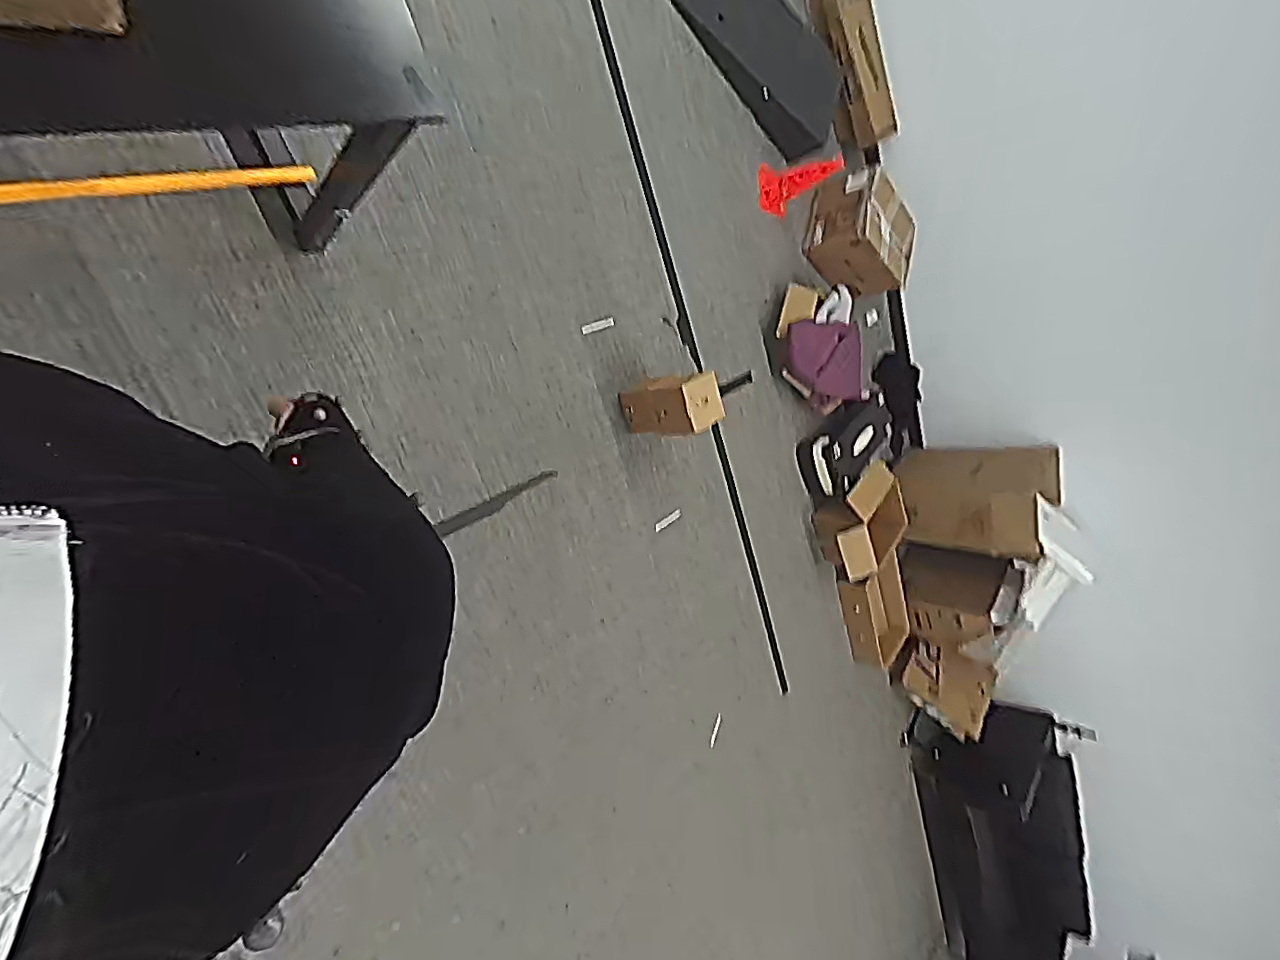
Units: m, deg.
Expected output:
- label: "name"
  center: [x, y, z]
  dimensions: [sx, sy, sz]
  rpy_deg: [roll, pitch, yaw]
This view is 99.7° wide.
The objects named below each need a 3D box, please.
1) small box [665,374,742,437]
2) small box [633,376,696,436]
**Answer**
- label: "small box"
  center: [0.215, -0.252, 1.841]
  dimensions: [0.179, 0.176, 0.168]
  rpy_deg: [-32, 112, -37]
- label: "small box"
  center: [0.107, -0.268, 1.965]
  dimensions: [0.179, 0.176, 0.168]
  rpy_deg: [-32, 112, -36]
